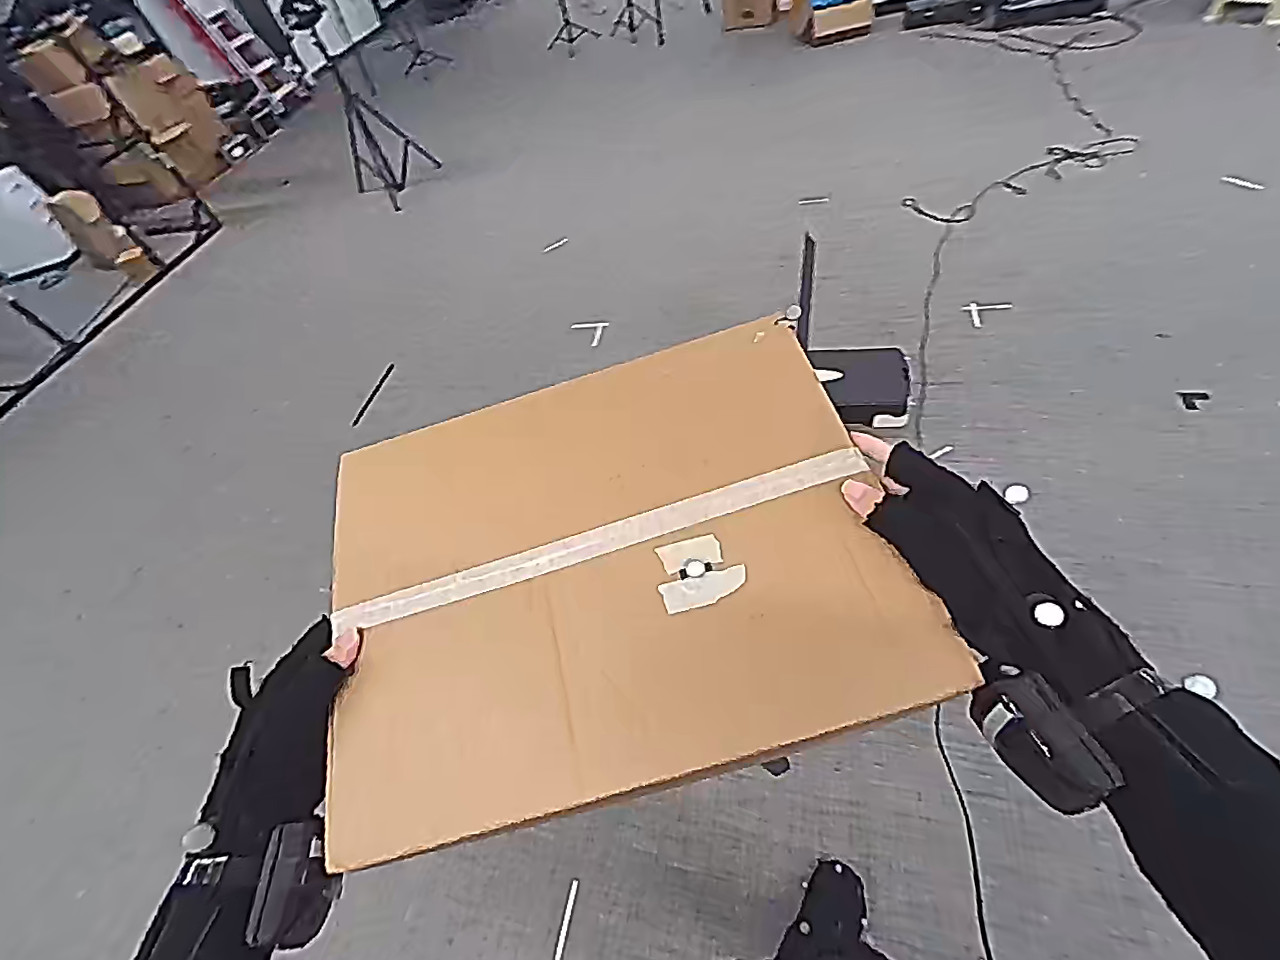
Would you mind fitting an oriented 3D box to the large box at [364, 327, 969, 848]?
[{"bbox_3d":[0.004,0.119,0.538,0.408,0.320,0.320,-17,61,2],"label":"large box"}]
